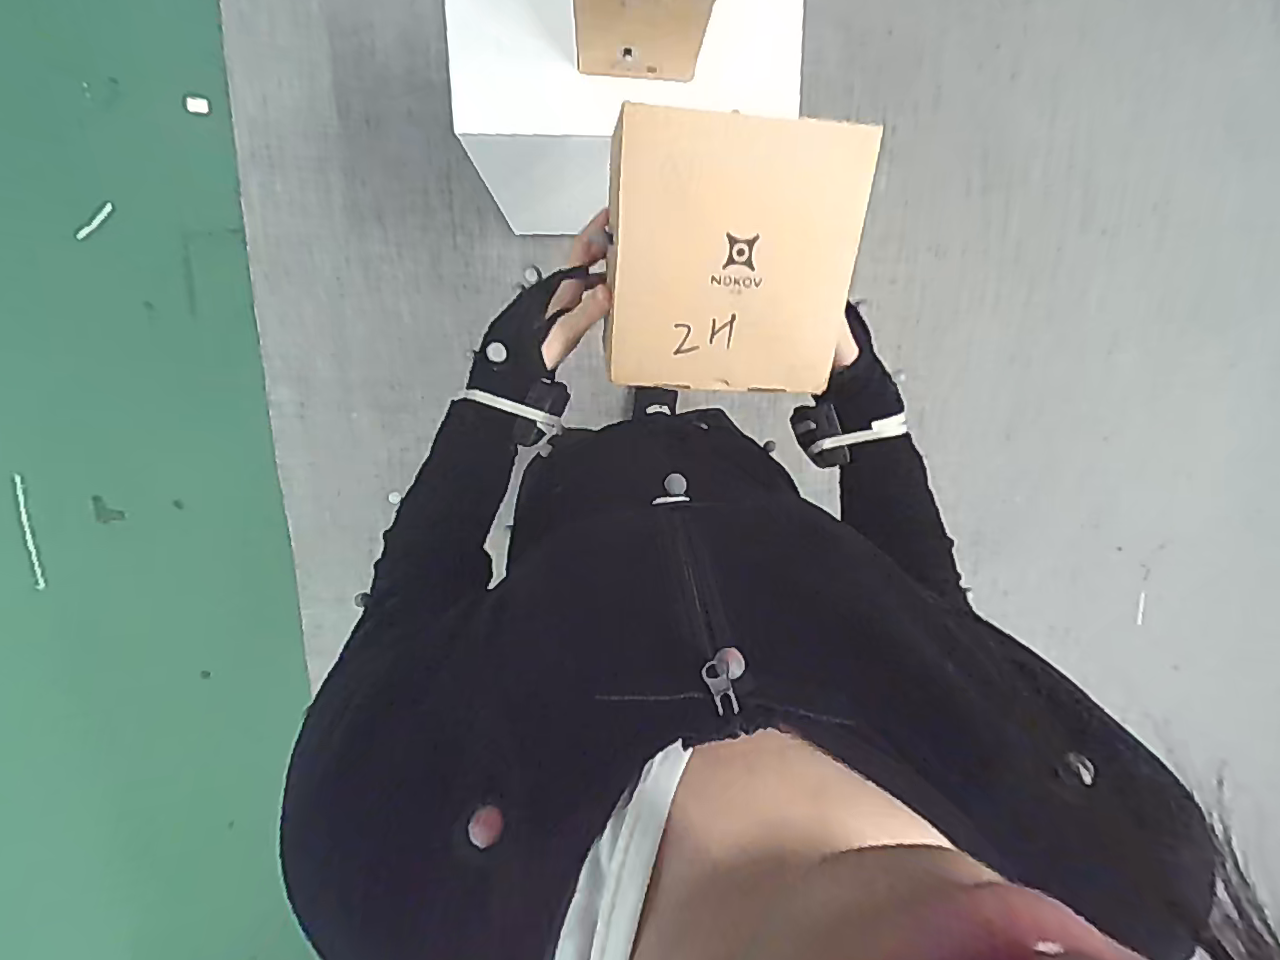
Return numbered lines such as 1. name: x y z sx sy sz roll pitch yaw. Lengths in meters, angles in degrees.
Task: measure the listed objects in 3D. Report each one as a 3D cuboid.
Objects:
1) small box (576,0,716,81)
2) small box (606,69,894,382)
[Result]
1. small box: 0.004 -0.641 0.679 0.168 0.176 0.179 1 99 -4
2. small box: 0.060 -0.184 0.421 0.168 0.176 0.179 1 114 -6
